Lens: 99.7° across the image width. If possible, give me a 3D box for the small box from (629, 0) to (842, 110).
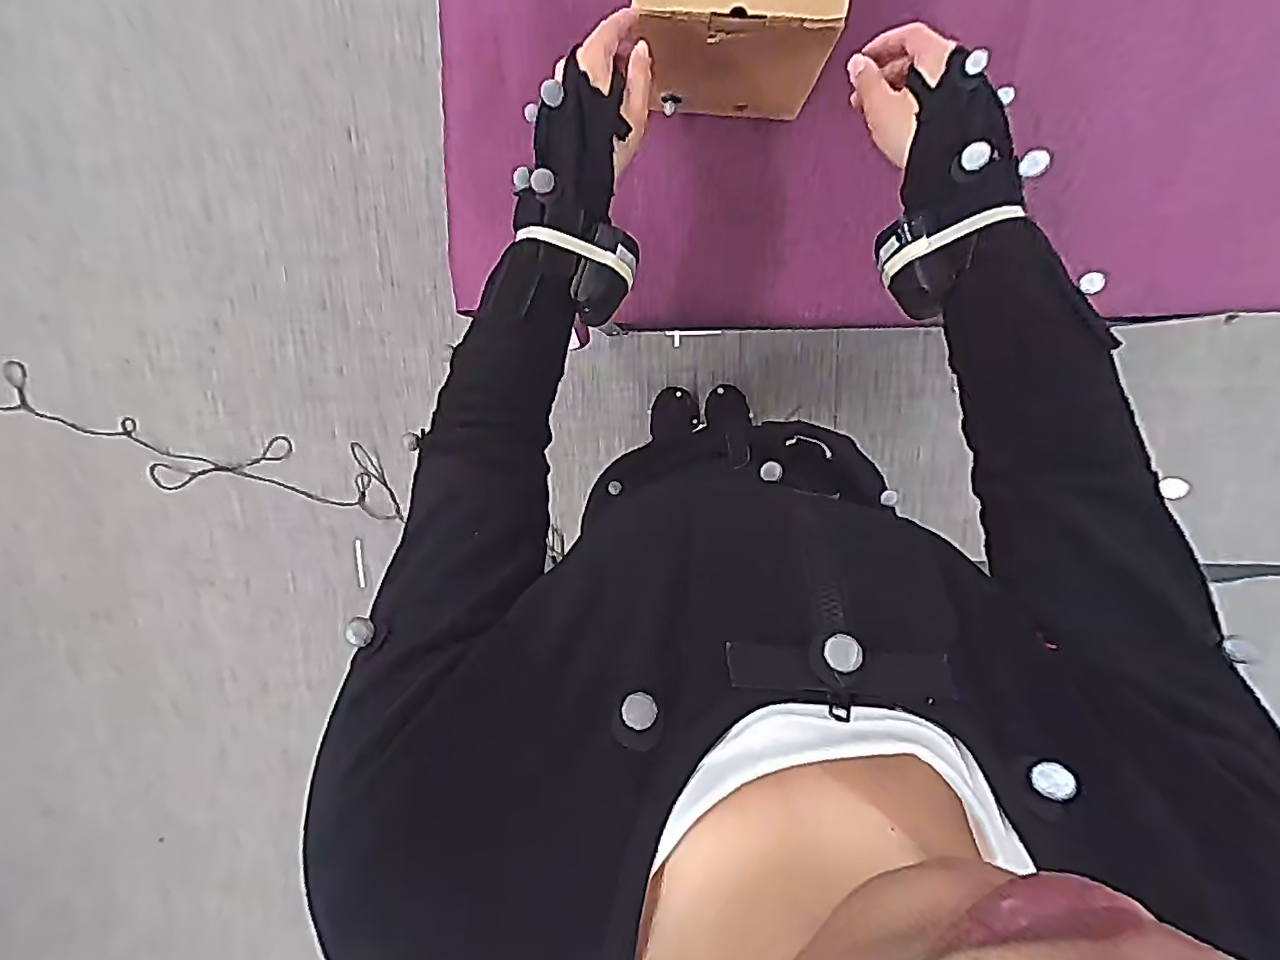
[{"bbox_3d":[0.084,-0.458,0.473,0.168,0.176,0.179,5,101,1],"label":"small box"}]
